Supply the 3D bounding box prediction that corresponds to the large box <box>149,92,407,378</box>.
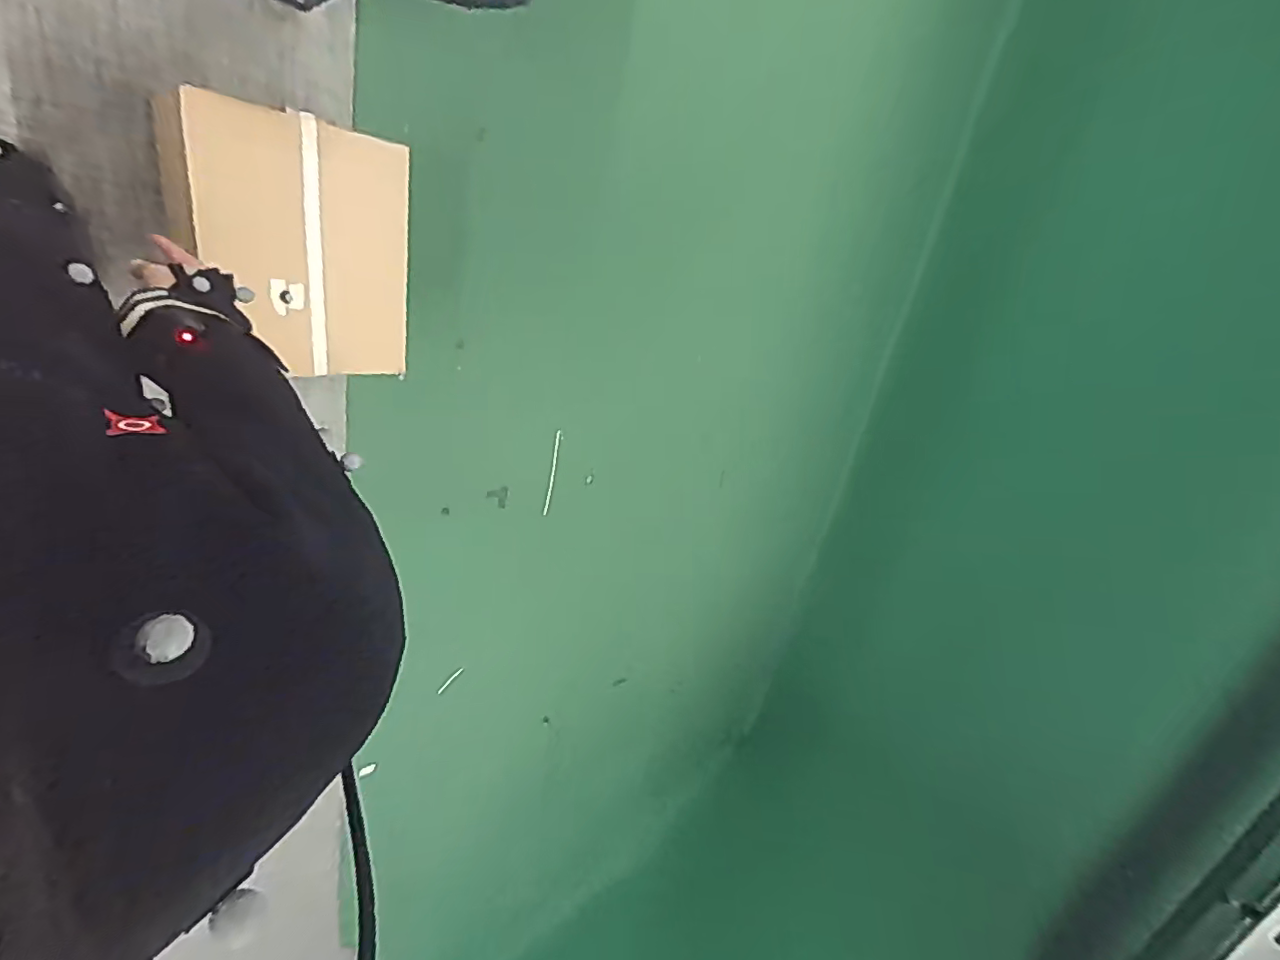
[{"bbox_3d":[-0.647,-0.428,0.994,0.320,0.320,0.408,-12,121,-43],"label":"large box"}]
